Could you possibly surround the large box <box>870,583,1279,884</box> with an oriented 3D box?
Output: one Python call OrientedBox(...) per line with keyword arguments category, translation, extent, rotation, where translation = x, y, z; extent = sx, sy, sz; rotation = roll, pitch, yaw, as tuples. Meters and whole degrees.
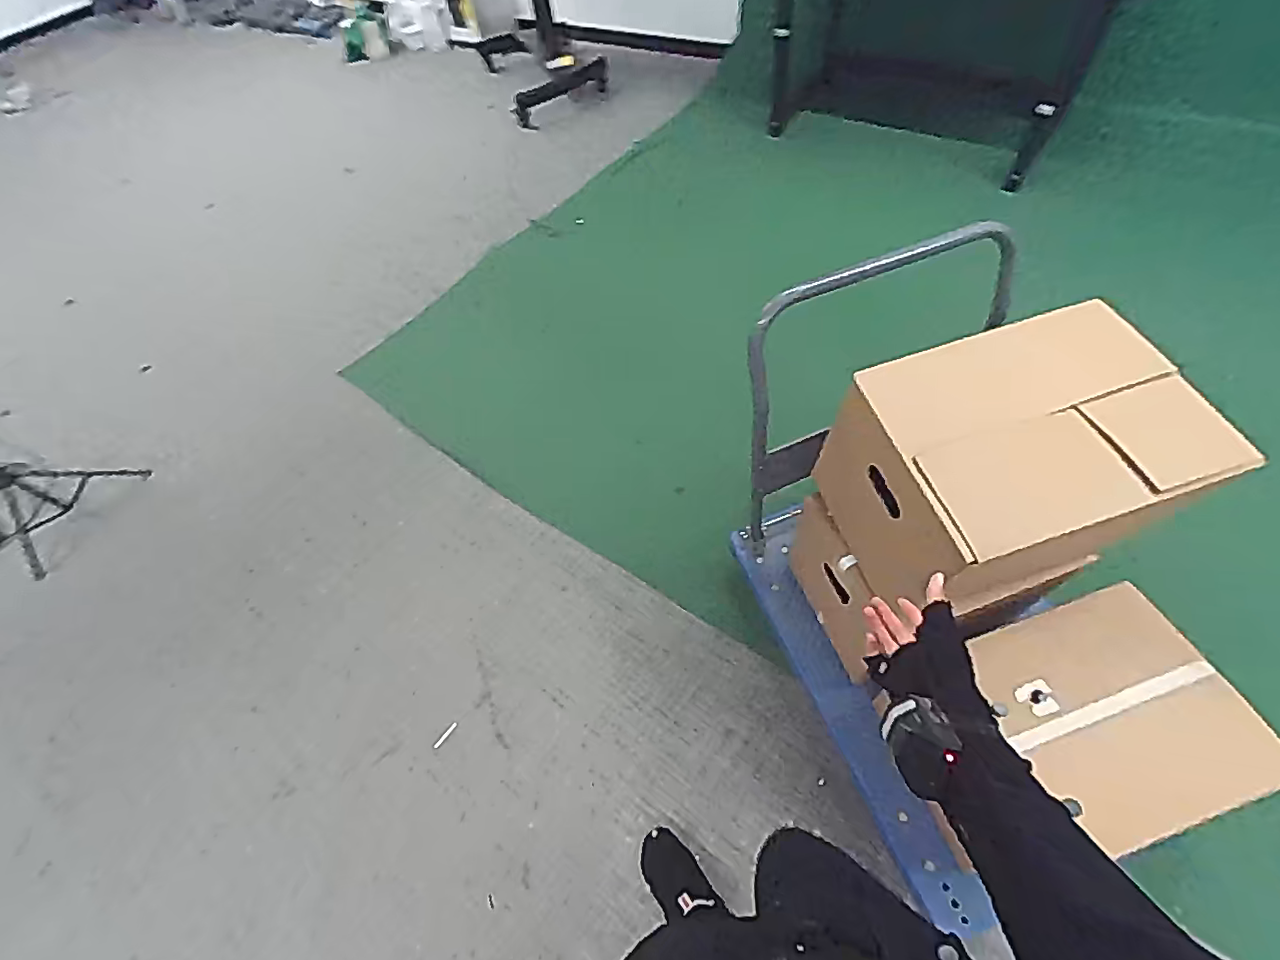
OrientedBox(category="large box", translation=(0.688, 0.432, 0.937), extent=(0.408, 0.320, 0.320), rotation=(-19, 56, -4))
